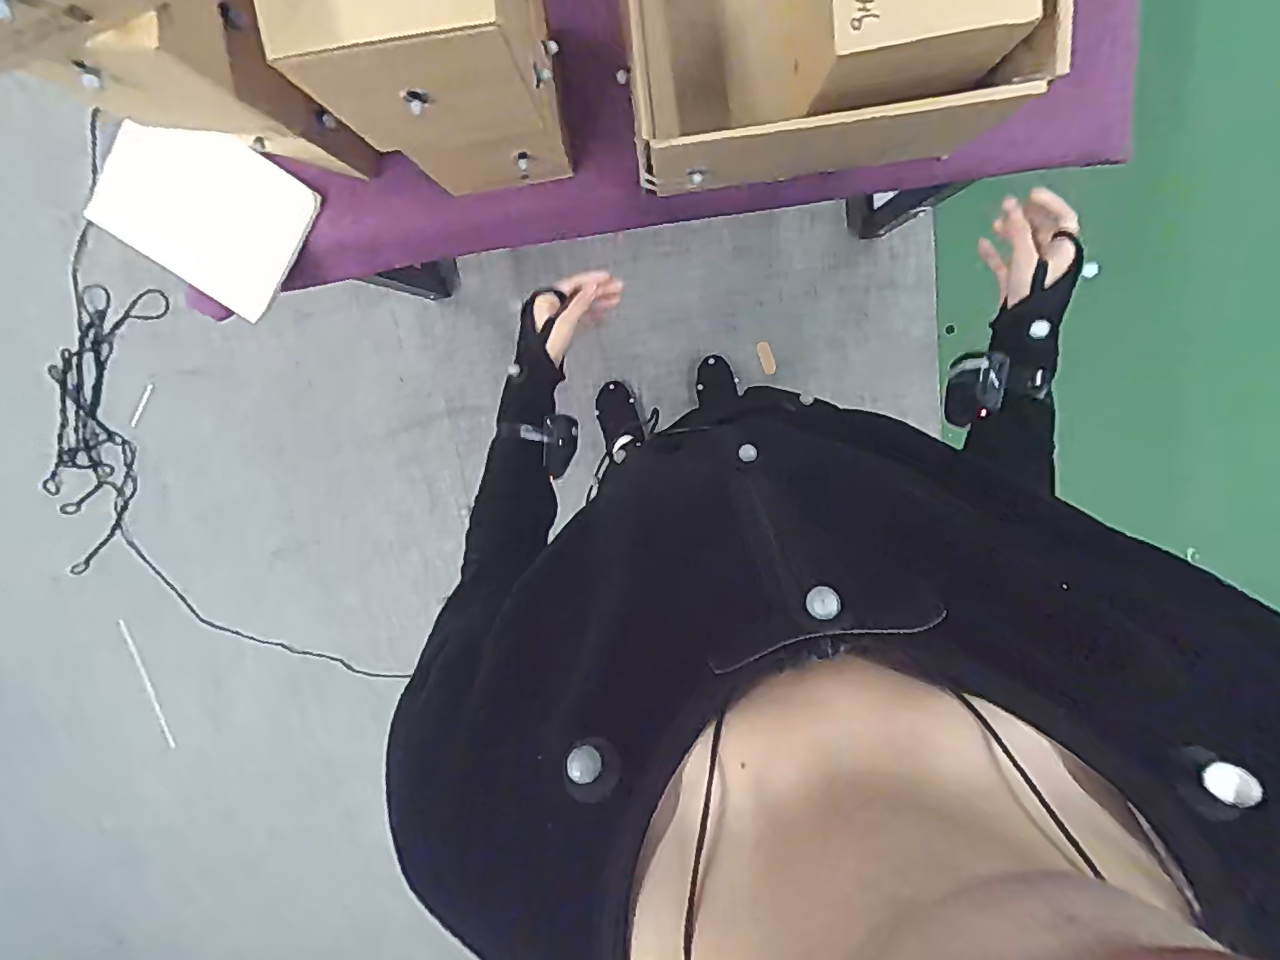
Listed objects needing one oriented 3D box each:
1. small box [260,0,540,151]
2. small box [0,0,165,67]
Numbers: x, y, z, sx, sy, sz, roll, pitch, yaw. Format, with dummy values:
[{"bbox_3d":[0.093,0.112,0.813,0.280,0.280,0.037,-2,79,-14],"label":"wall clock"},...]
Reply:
[{"bbox_3d":[-0.189,-0.406,0.453,0.179,0.176,0.168,-7,100,3],"label":"small box"},{"bbox_3d":[-0.434,-0.389,0.301,0.168,0.176,0.179,-16,101,7],"label":"small box"}]
